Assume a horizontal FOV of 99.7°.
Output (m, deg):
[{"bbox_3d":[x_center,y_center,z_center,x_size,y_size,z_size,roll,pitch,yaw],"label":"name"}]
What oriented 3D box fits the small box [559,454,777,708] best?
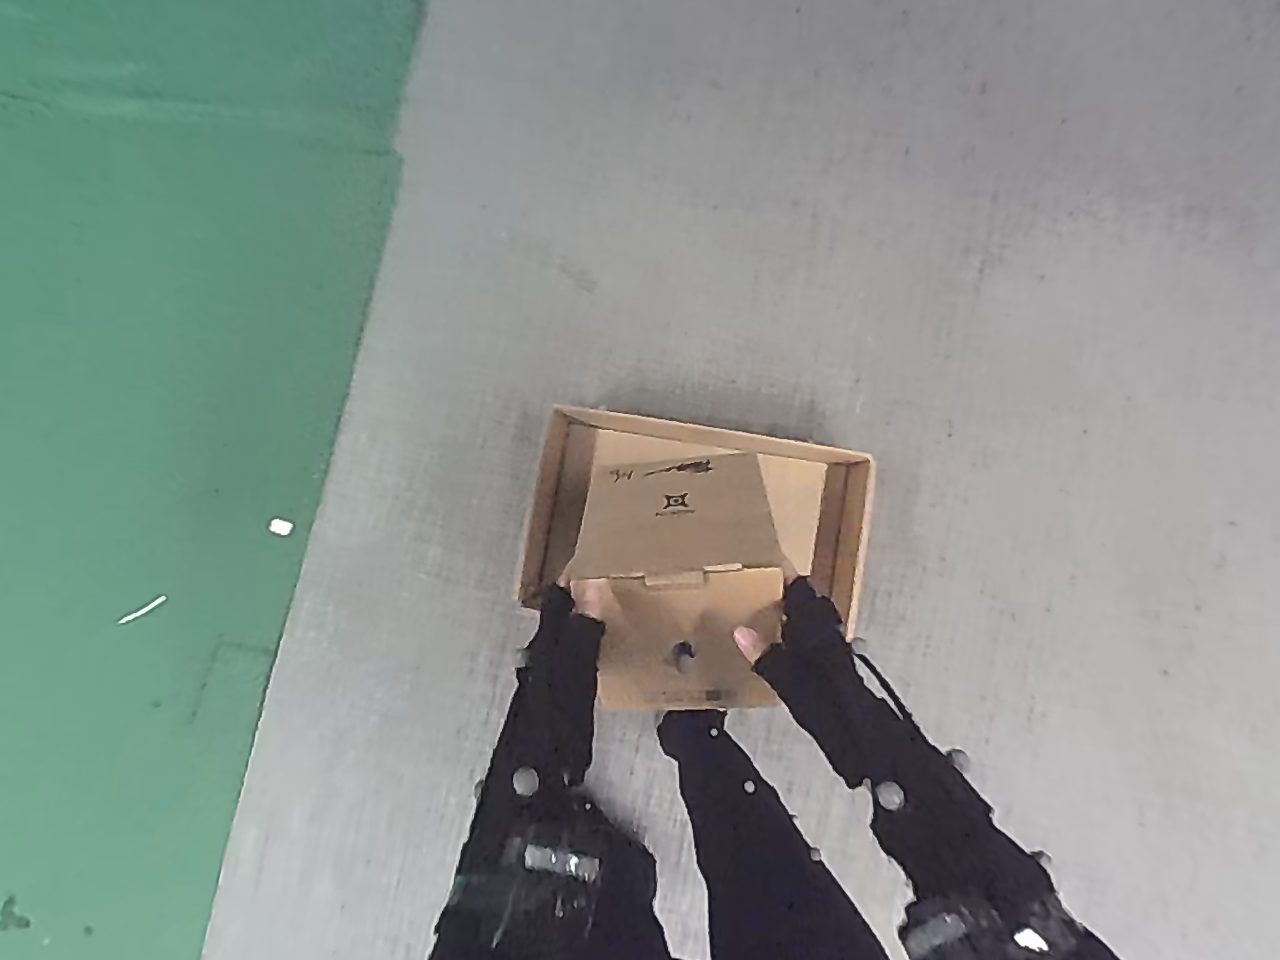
[{"bbox_3d":[0.036,0.096,0.514,0.168,0.179,0.176,-5,122,8],"label":"small box"}]
